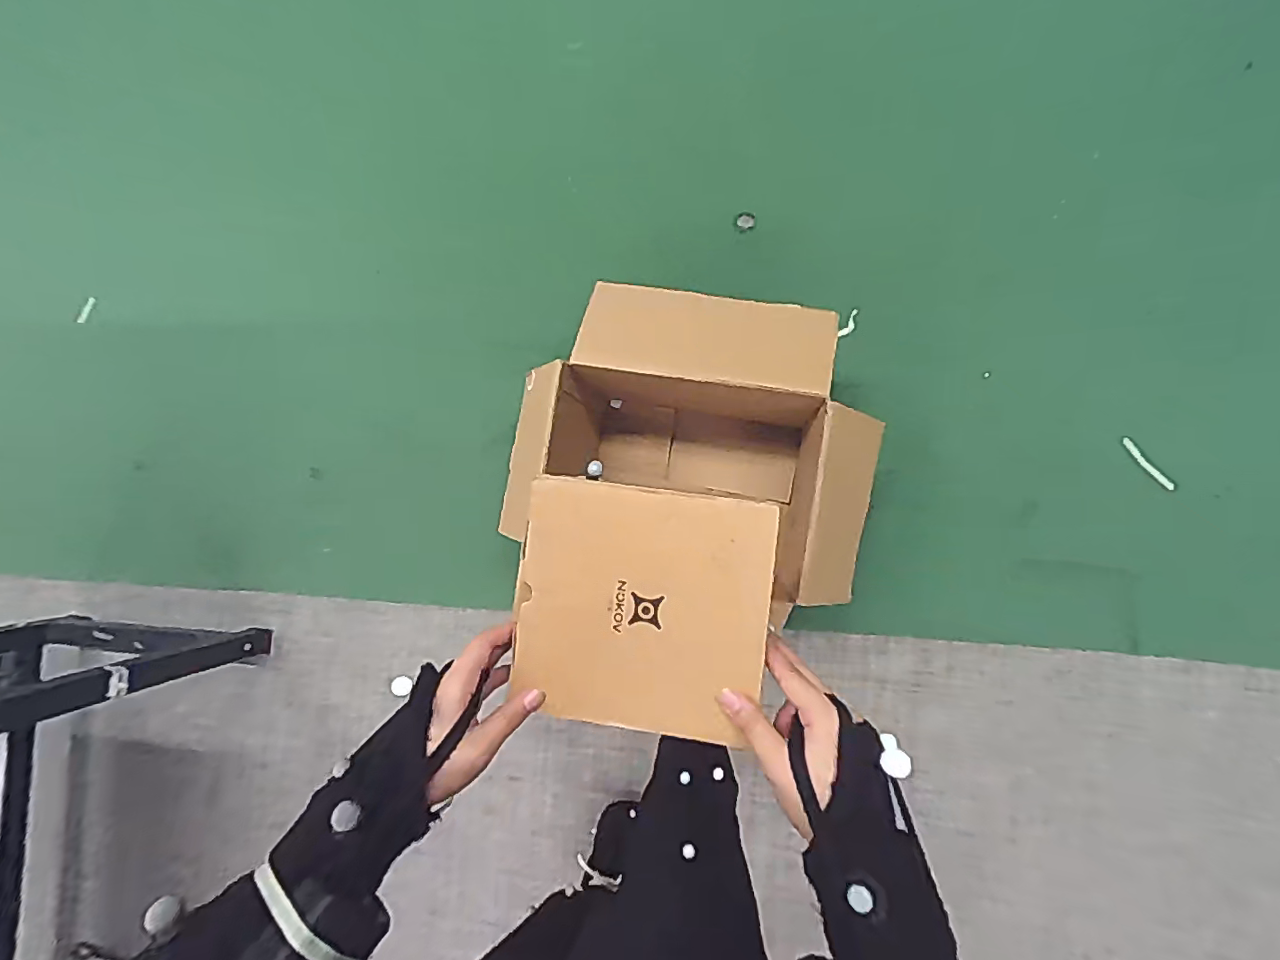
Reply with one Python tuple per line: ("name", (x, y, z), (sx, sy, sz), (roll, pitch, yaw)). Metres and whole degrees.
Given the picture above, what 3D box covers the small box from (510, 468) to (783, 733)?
("small box", (0.012, 0.081, 0.450), (0.179, 0.176, 0.168), (6, 89, 8))
